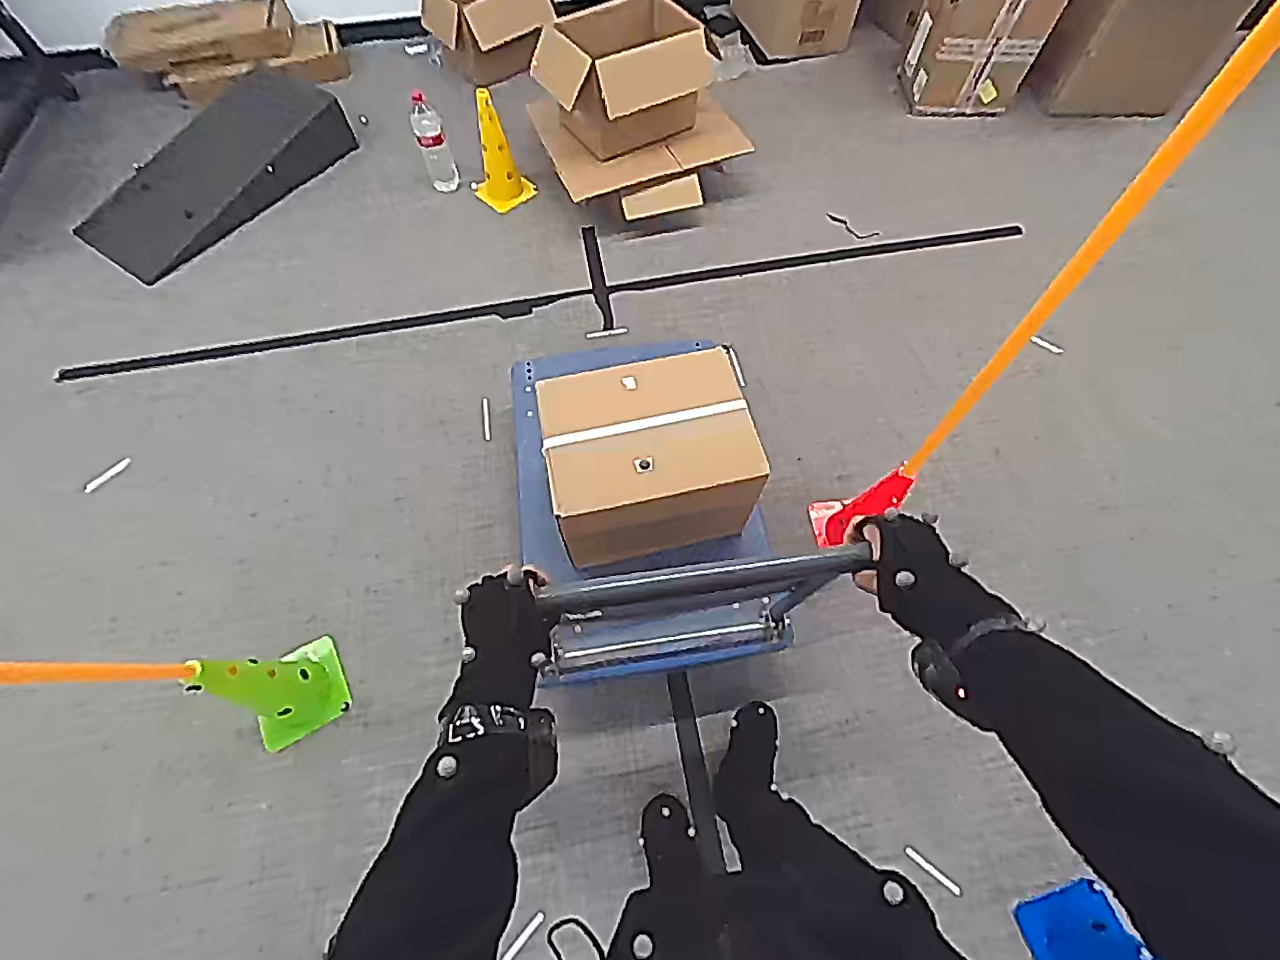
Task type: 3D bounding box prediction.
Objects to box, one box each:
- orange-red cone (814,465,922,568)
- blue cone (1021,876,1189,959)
[{"bbox_3d":[0.577,0.061,1.296,0.199,0.360,0.198,-3,64,-3],"label":"orange-red cone"},{"bbox_3d":[0.869,0.834,0.914,0.193,0.380,0.192,-13,62,-7],"label":"blue cone"}]
